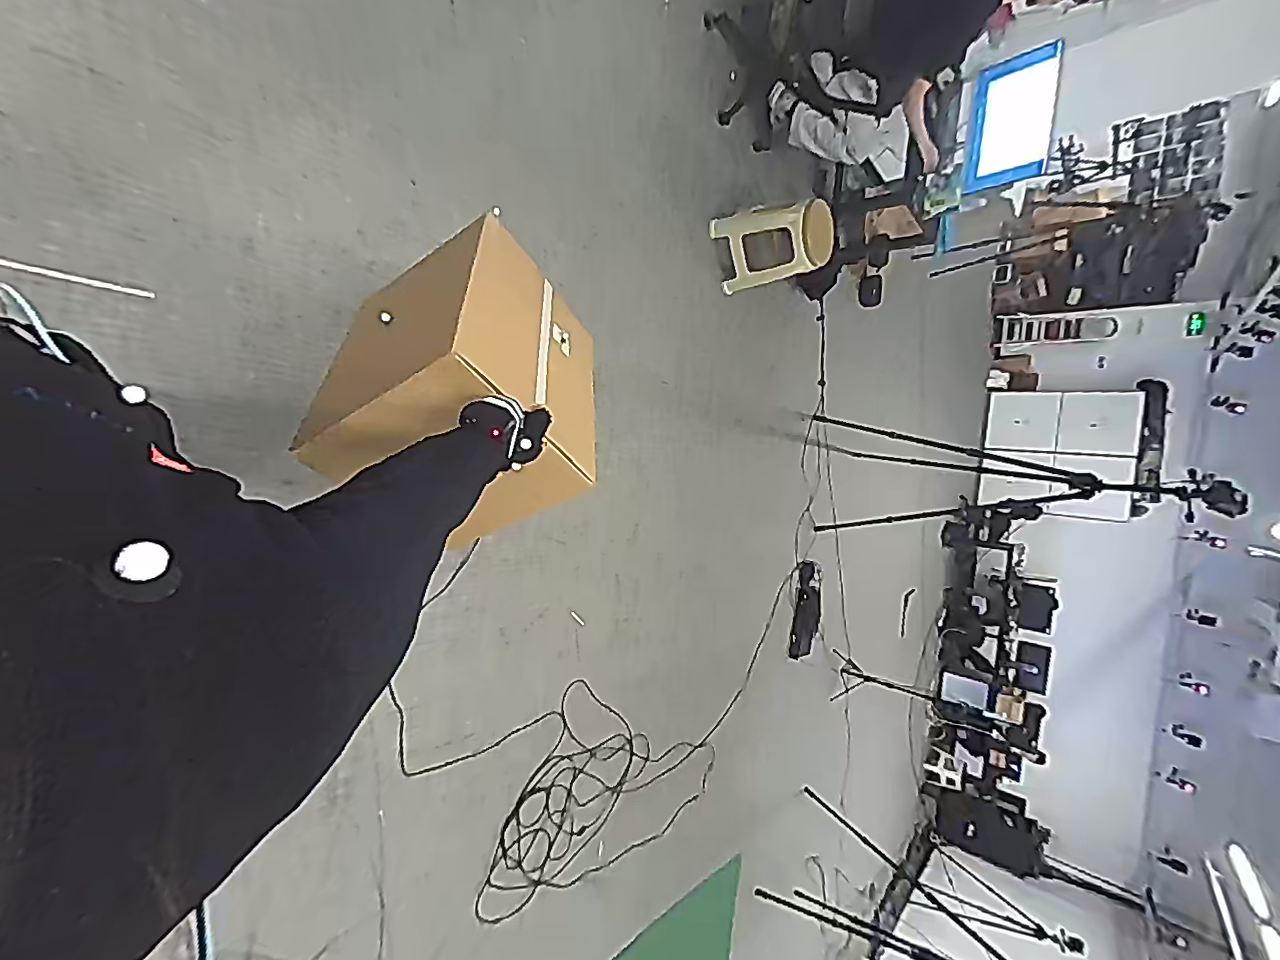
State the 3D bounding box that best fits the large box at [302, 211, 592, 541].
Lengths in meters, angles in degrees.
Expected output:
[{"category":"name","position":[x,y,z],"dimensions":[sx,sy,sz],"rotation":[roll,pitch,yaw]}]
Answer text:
[{"category":"large box","position":[-0.299,-0.169,0.941],"dimensions":[0.320,0.320,0.408],"rotation":[48,26,-43]}]
